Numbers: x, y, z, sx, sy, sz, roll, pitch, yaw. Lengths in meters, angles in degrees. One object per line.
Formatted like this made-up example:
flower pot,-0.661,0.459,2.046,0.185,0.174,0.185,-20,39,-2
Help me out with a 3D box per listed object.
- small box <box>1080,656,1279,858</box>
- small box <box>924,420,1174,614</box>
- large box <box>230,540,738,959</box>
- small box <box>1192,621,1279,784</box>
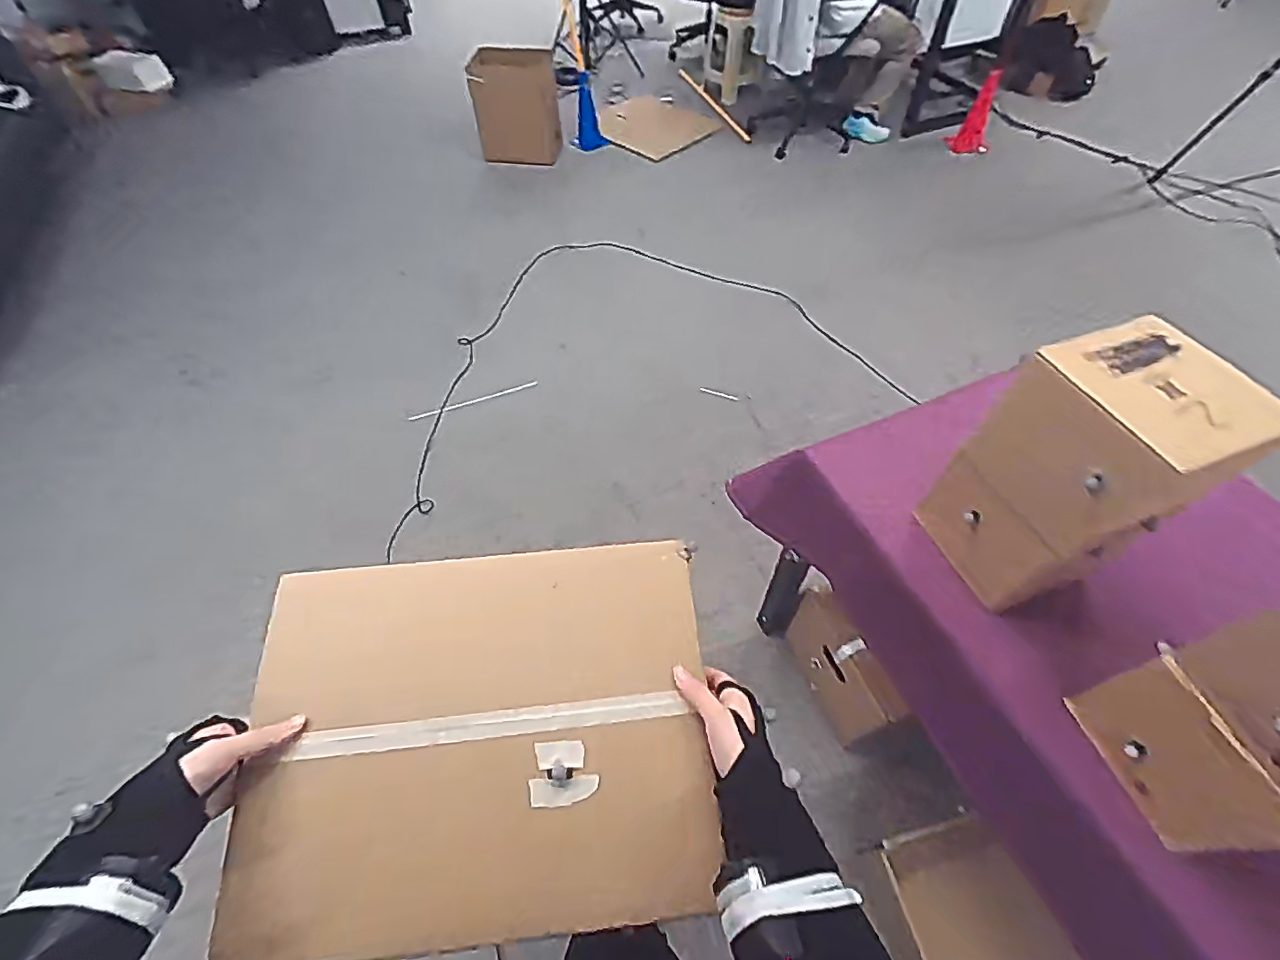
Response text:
small box,0.635,0.277,0.570,0.179,0.176,0.168,-14,54,-7
small box,0.528,0.053,0.734,0.168,0.176,0.179,-18,55,-9
large box,-0.139,0.283,0.622,0.408,0.320,0.320,-4,64,-5
small box,0.636,0.179,0.437,0.179,0.176,0.168,-13,54,-6
